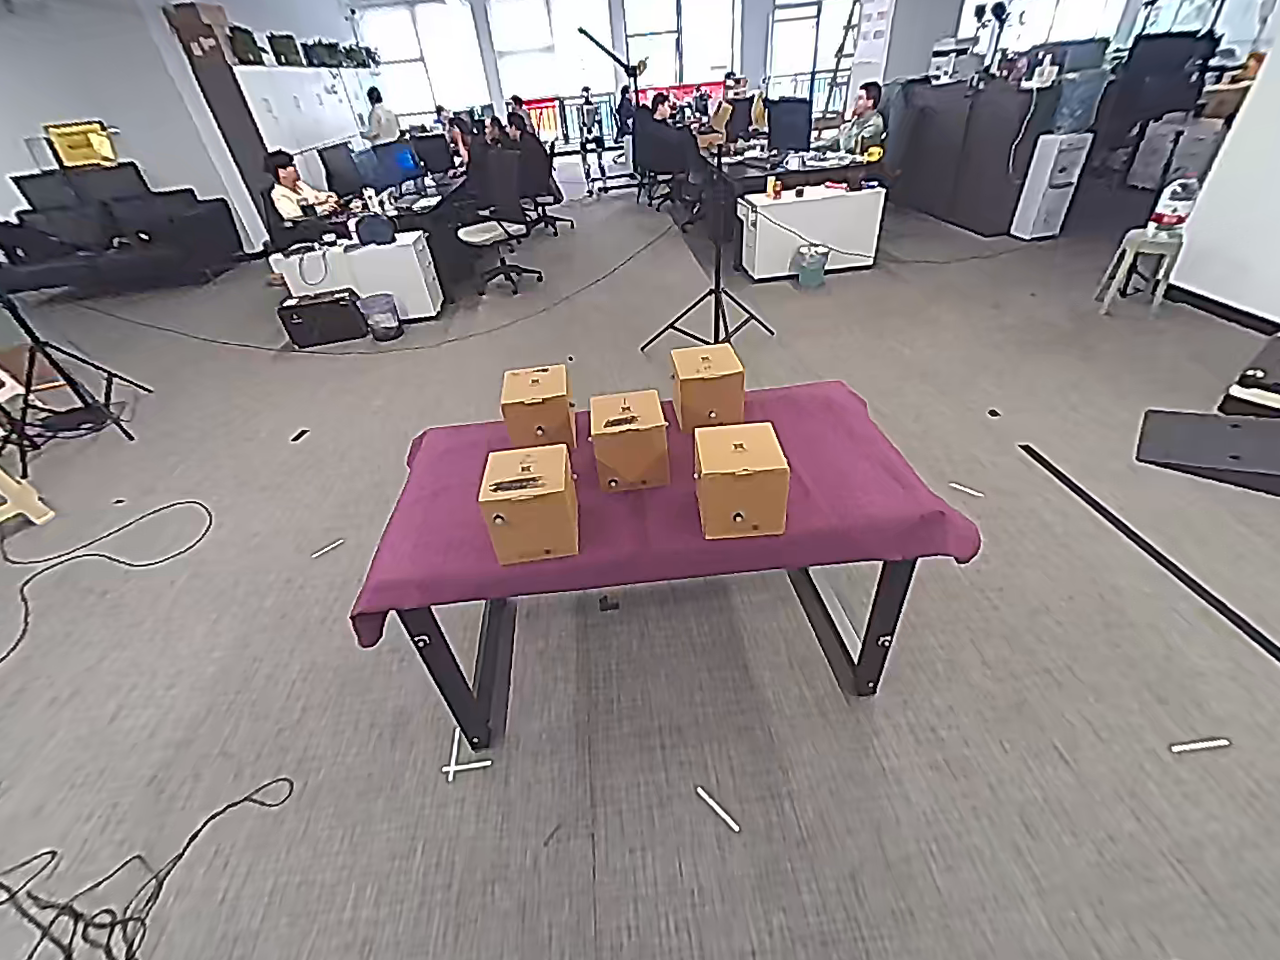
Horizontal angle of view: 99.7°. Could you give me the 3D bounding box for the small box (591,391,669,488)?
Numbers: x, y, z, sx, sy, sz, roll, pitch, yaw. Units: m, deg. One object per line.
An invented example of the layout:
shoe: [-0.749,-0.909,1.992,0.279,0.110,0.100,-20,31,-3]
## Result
small box: [-0.023,-0.092,1.297,0.168,0.176,0.179,-7,37,-1]

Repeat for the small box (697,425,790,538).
small box: [0.209,0.002,1.141,0.168,0.176,0.179,-5,36,2]

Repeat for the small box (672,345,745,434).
small box: [0.181,-0.246,1.466,0.168,0.176,0.179,-8,39,-1]

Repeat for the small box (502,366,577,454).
small box: [-0.262,-0.181,1.443,0.168,0.176,0.179,-7,40,-2]
